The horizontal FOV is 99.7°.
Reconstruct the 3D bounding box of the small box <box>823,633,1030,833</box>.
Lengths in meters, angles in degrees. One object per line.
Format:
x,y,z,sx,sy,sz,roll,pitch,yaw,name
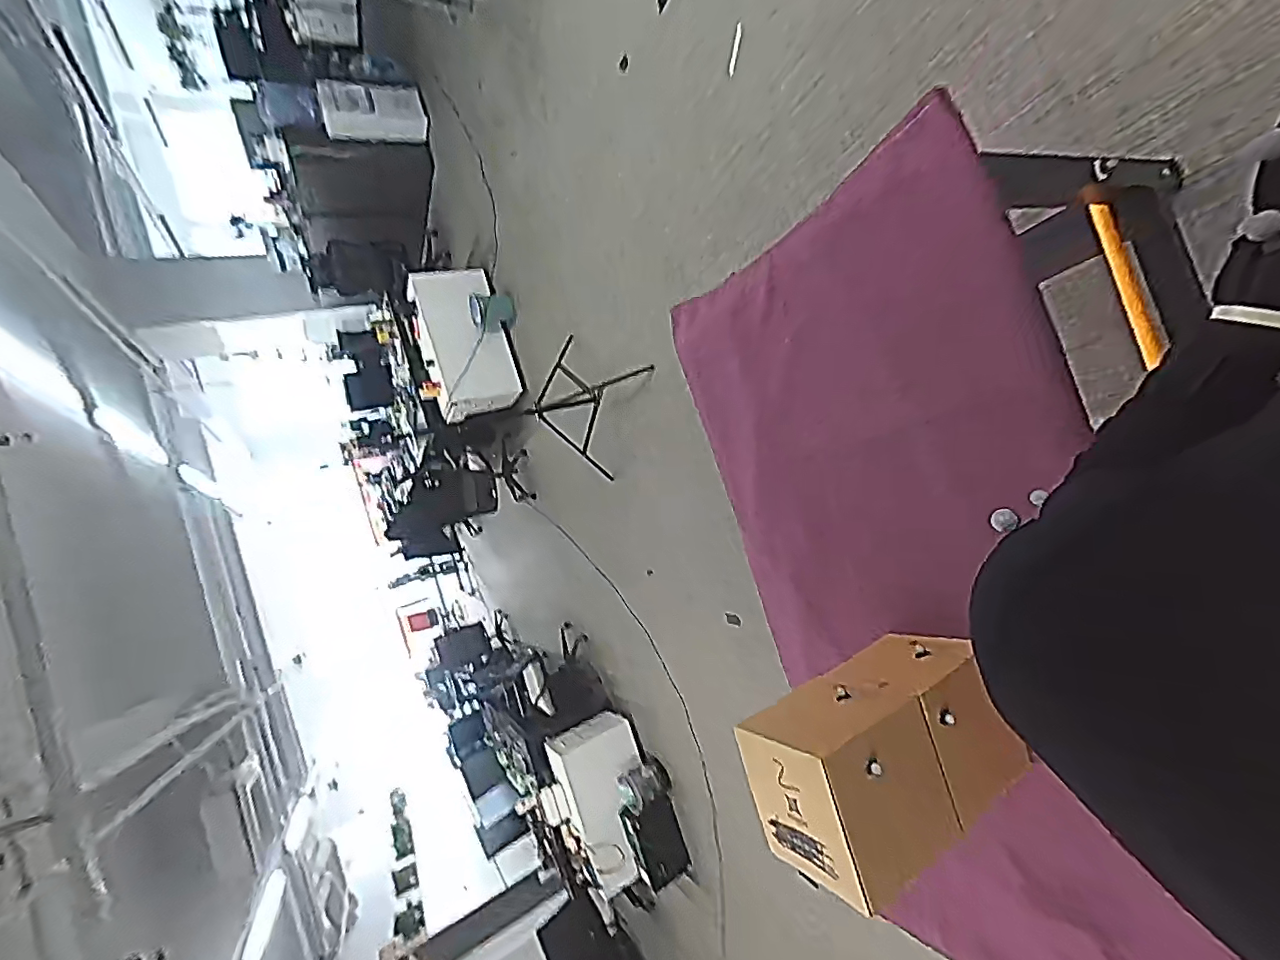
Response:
0.397,0.333,0.753,0.168,0.176,0.179,-24,83,62,small box
